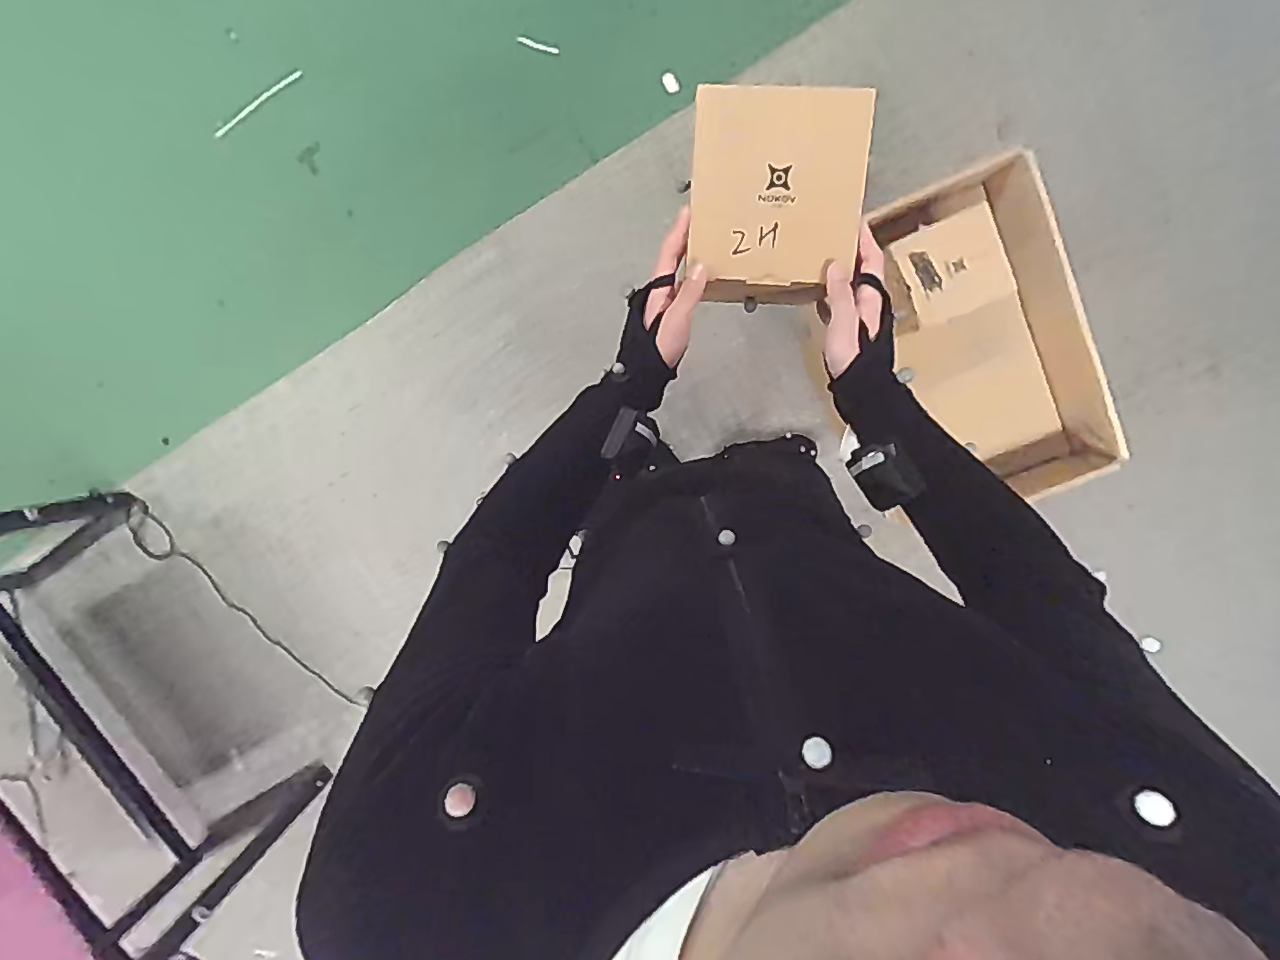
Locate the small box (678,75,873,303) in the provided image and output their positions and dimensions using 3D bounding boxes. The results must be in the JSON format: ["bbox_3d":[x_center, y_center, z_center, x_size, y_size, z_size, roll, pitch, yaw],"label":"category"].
[{"bbox_3d":[0.130,-0.295,0.584,0.168,0.176,0.179,3,103,3],"label":"small box"}]
